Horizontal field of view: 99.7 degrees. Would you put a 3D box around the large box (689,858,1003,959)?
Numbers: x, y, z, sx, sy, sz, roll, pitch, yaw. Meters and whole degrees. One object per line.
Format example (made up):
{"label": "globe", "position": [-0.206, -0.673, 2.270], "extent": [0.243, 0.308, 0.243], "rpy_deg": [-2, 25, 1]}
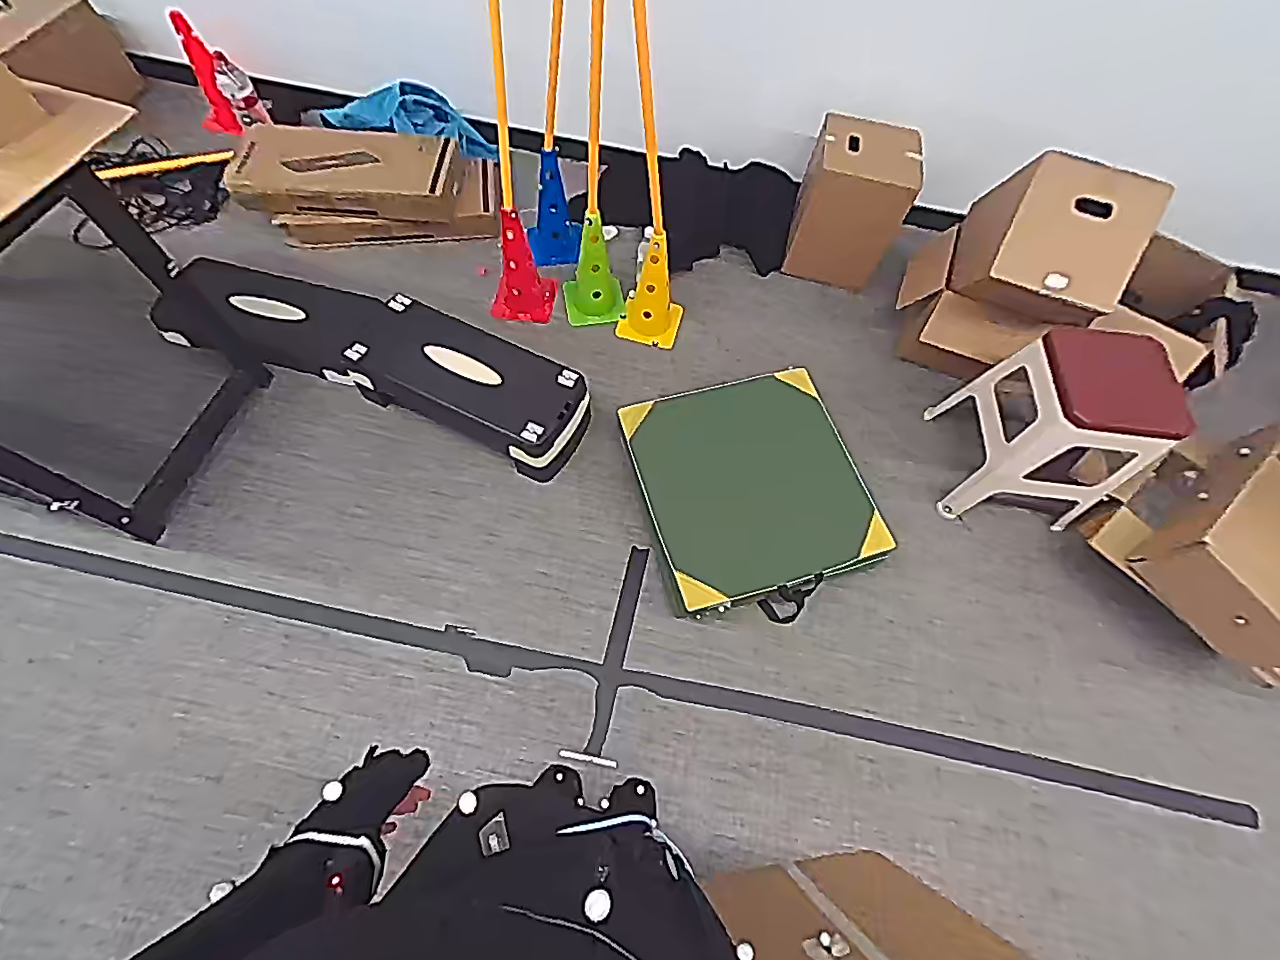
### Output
{"label": "large box", "position": [0.265, 0.732, 0.661], "extent": [0.320, 0.408, 0.320], "rpy_deg": [-5, 74, -8]}
